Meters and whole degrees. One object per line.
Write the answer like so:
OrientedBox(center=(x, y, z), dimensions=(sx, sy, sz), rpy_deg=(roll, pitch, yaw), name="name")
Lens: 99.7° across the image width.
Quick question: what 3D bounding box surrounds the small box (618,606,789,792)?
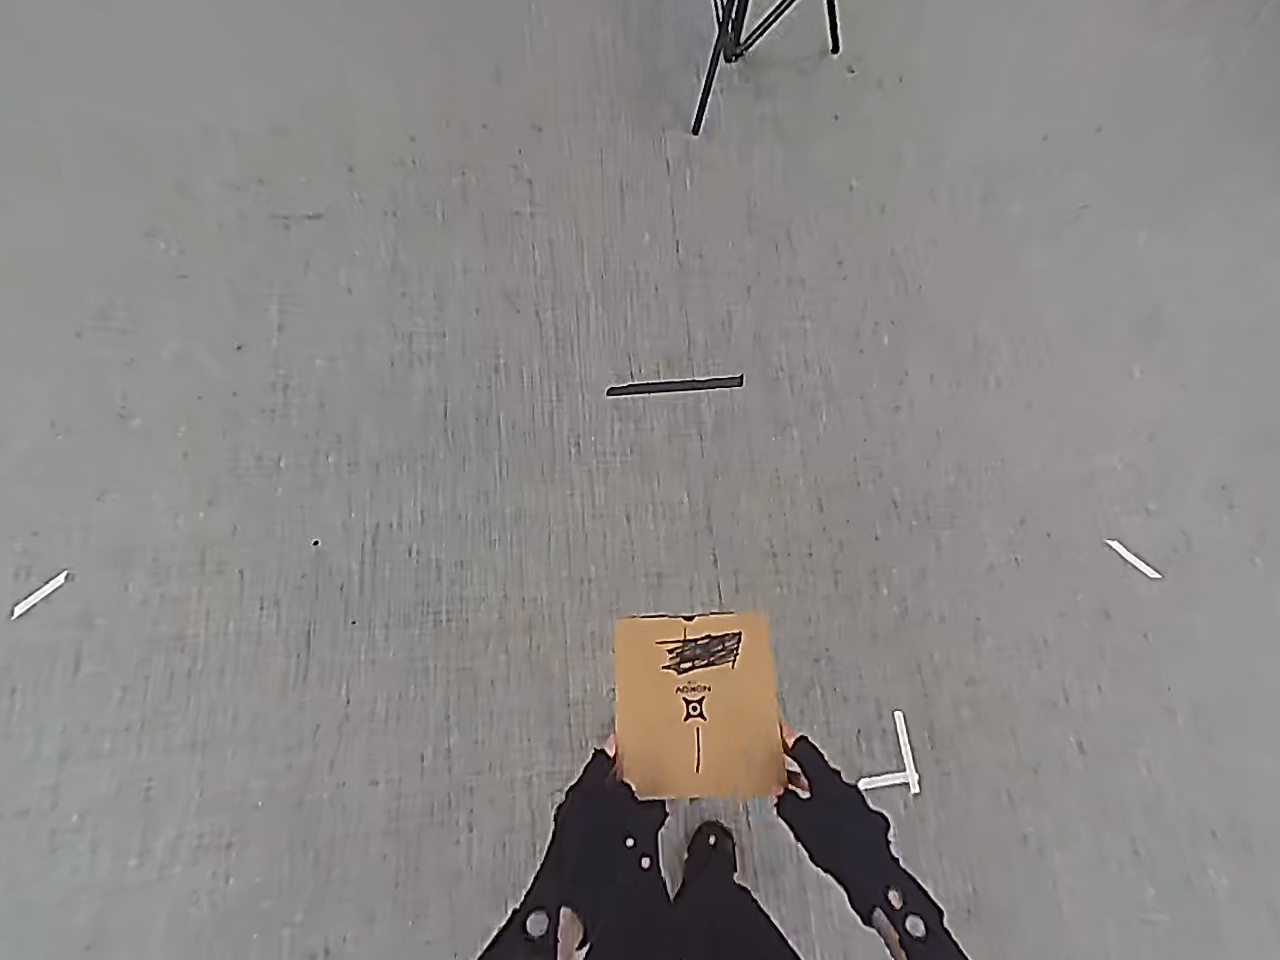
OrientedBox(center=(0.064, 0.254, 0.624), dimensions=(0.168, 0.176, 0.179), rpy_deg=(-4, 64, 3), name="small box")
